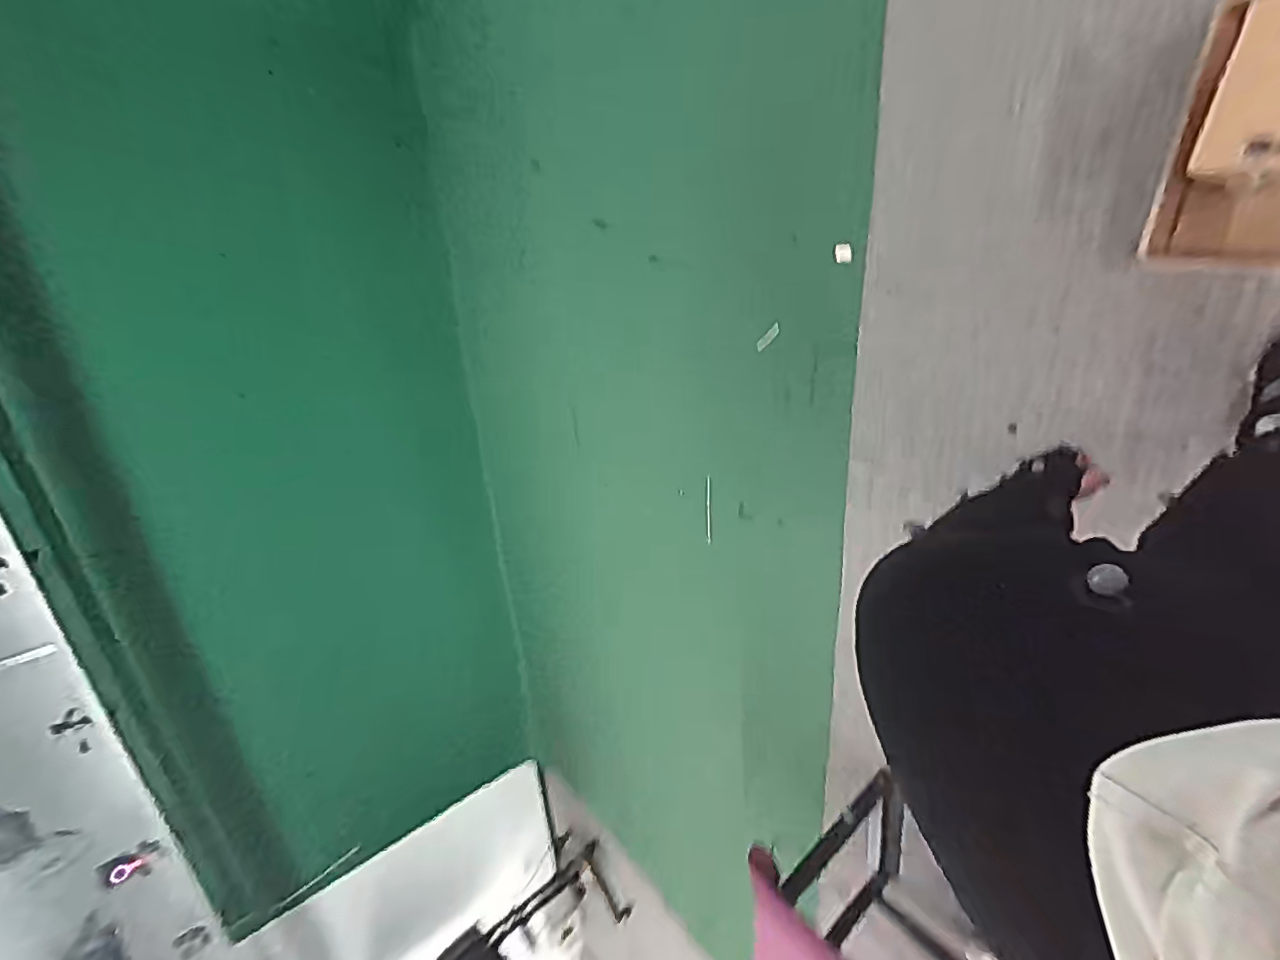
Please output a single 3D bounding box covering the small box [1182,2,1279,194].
[{"bbox_3d":[0.801,-0.448,0.643,0.168,0.176,0.179,28,124,43],"label":"small box"}]
